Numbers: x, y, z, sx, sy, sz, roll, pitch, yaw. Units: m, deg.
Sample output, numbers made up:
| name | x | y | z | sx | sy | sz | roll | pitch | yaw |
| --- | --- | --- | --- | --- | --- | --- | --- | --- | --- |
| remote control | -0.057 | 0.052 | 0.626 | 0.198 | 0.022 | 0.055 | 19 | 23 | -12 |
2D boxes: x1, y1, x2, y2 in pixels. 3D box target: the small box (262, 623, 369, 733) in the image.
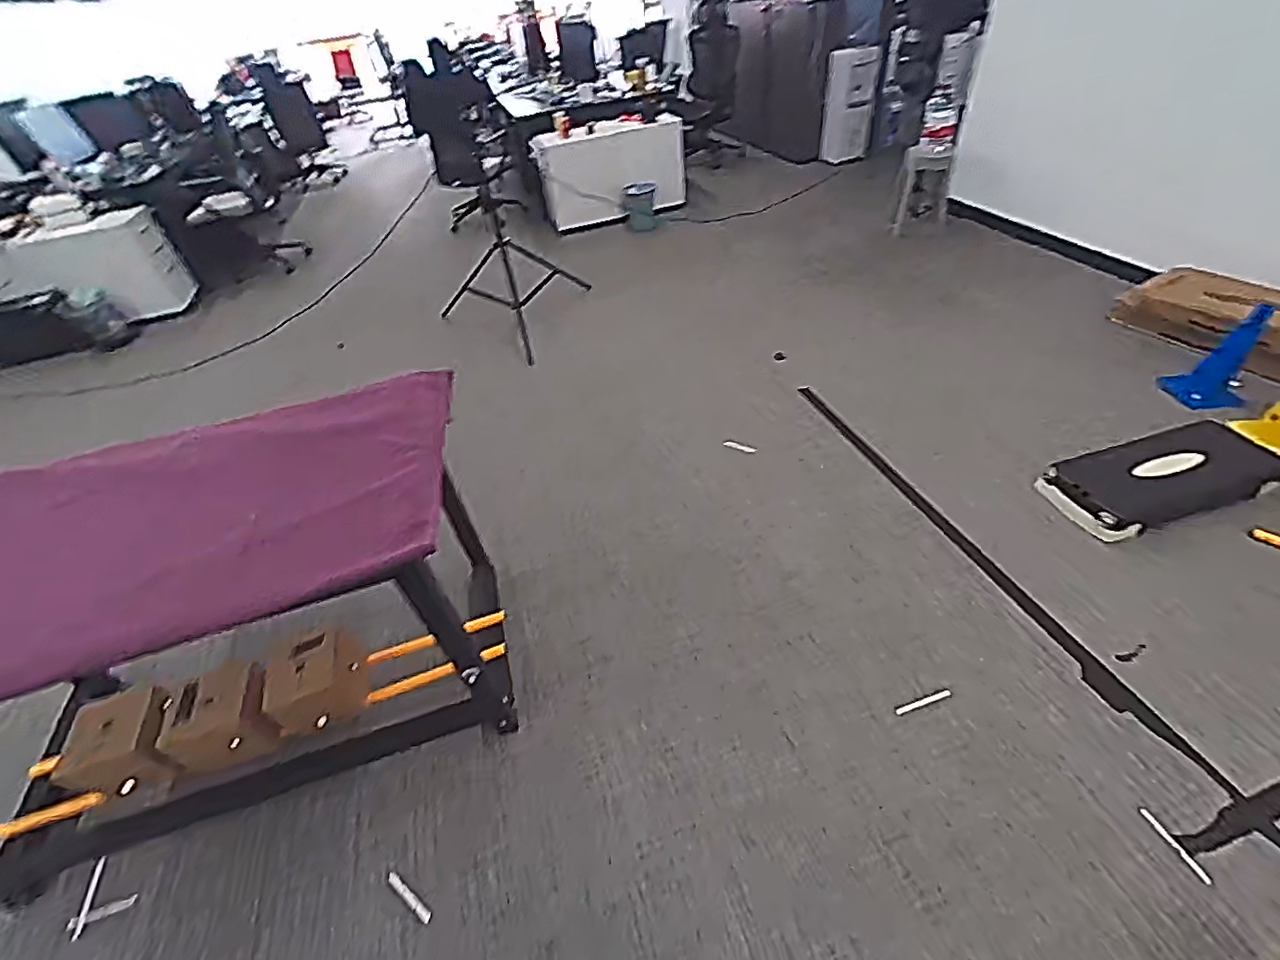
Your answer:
| name | x | y | z | sx | sy | sz | roll | pitch | yaw |
| --- | --- | --- | --- | --- | --- | --- | --- | --- | --- |
| small box | -0.799 | 0.495 | 1.351 | 0.168 | 0.176 | 0.179 | -18 | 47 | -9 |

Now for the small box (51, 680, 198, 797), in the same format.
| name | x | y | z | sx | sy | sz | roll | pitch | yaw |
| --- | --- | --- | --- | --- | --- | --- | --- | --- | --- |
| small box | -1.202 | 0.613 | 1.282 | 0.168 | 0.176 | 0.179 | -16 | 46 | -9 |
